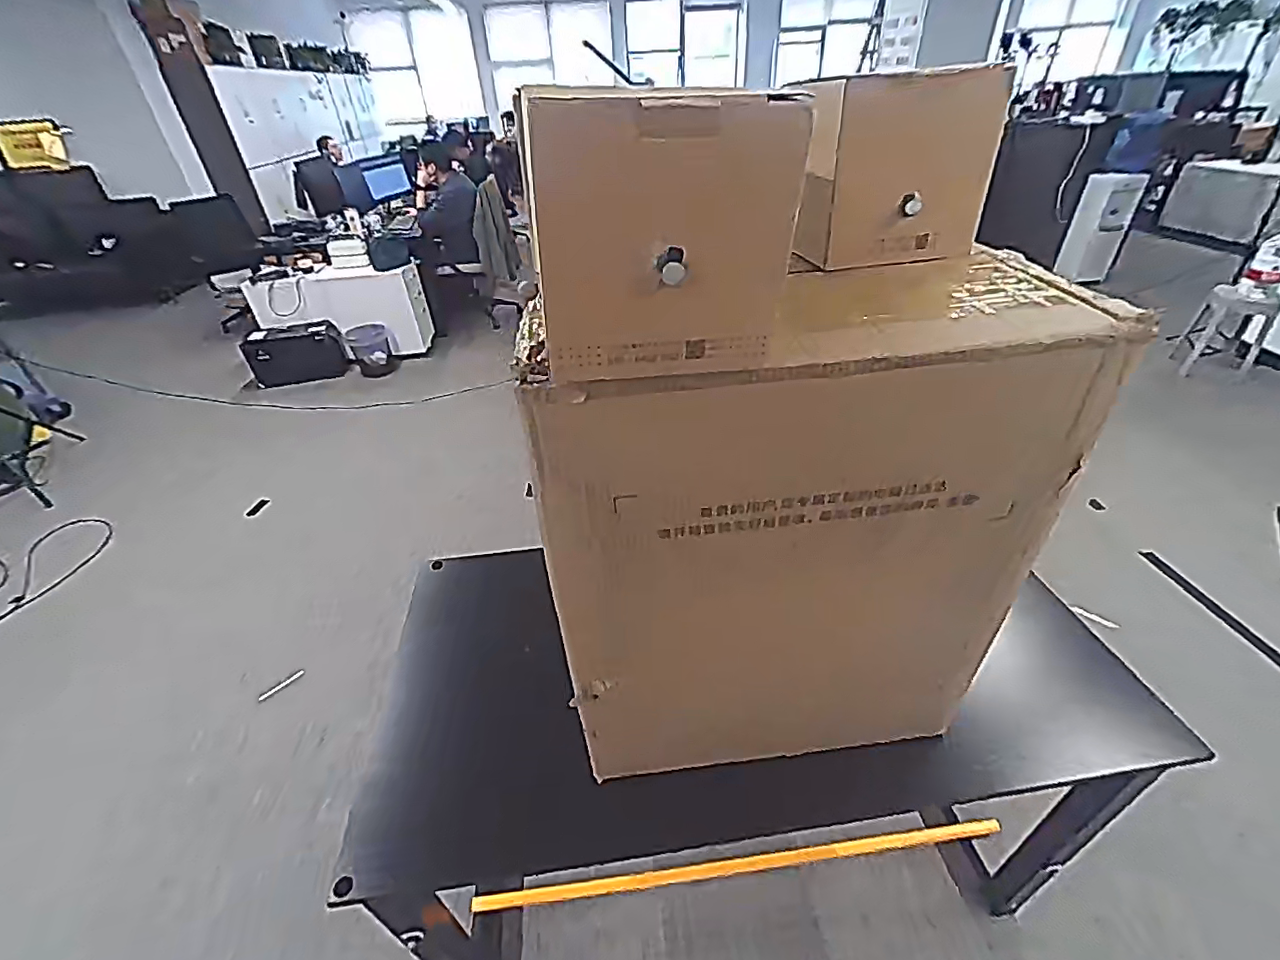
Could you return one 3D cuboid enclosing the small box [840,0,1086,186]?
[{"bbox_3d":[0.270,-0.387,0.520,0.168,0.176,0.179,-8,35,-4],"label":"small box"}]

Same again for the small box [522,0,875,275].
[{"bbox_3d":[0.020,-0.231,0.327,0.168,0.176,0.179,-6,39,-10],"label":"small box"}]
